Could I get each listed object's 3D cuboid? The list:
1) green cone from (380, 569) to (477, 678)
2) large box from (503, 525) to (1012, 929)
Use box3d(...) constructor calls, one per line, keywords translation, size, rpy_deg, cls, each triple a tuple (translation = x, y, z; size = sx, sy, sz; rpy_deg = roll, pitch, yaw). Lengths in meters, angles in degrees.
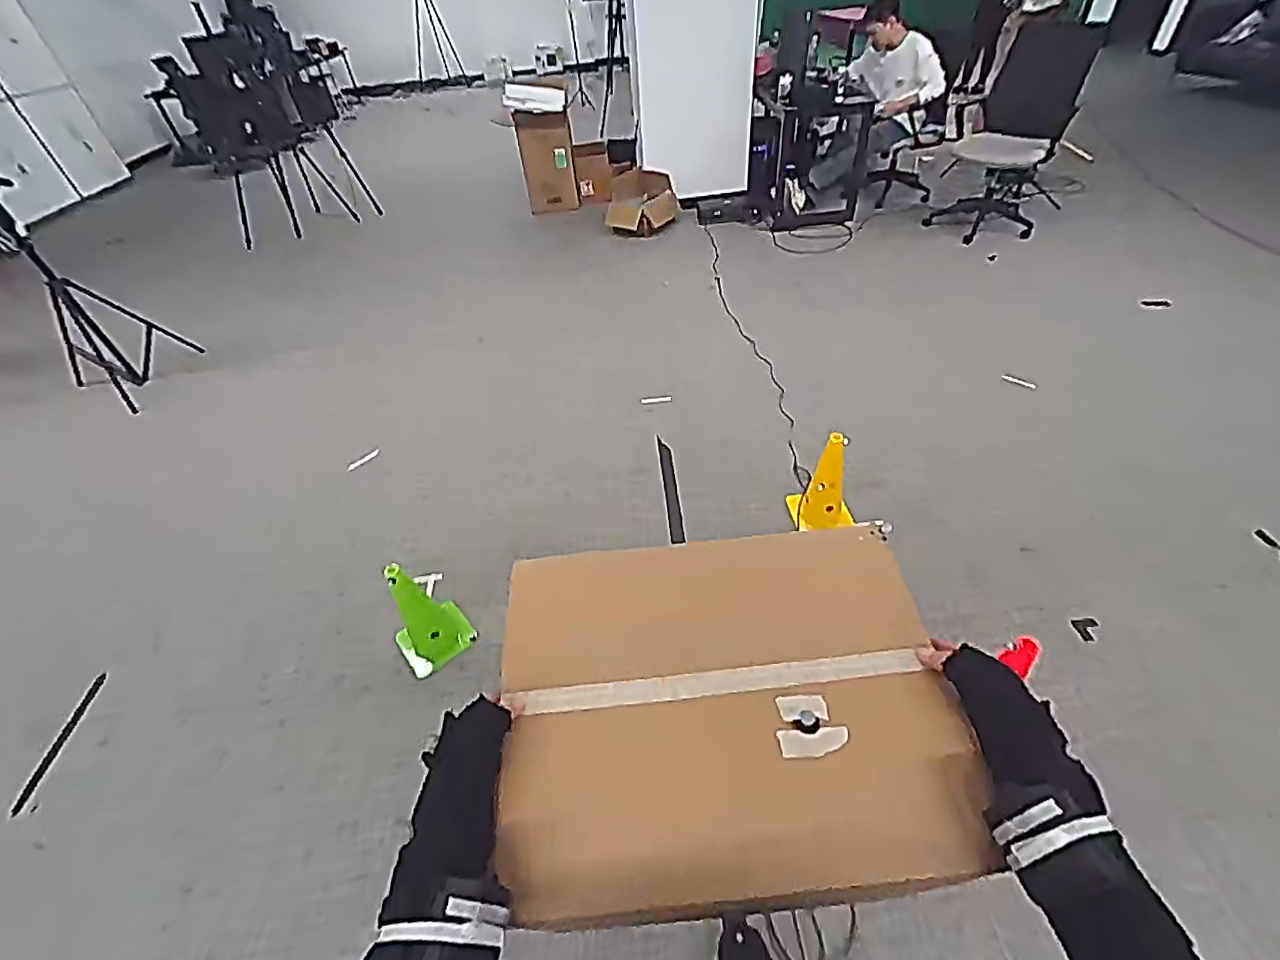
box3d(translation=(-0.654, 0.375, 1.573), size=(0.202, 0.368, 0.200), rpy_deg=(-36, 50, -25), cls="green cone")
box3d(translation=(0.084, 0.284, 0.617), size=(0.408, 0.320, 0.320), rpy_deg=(-6, 49, -1), cls="large box")
